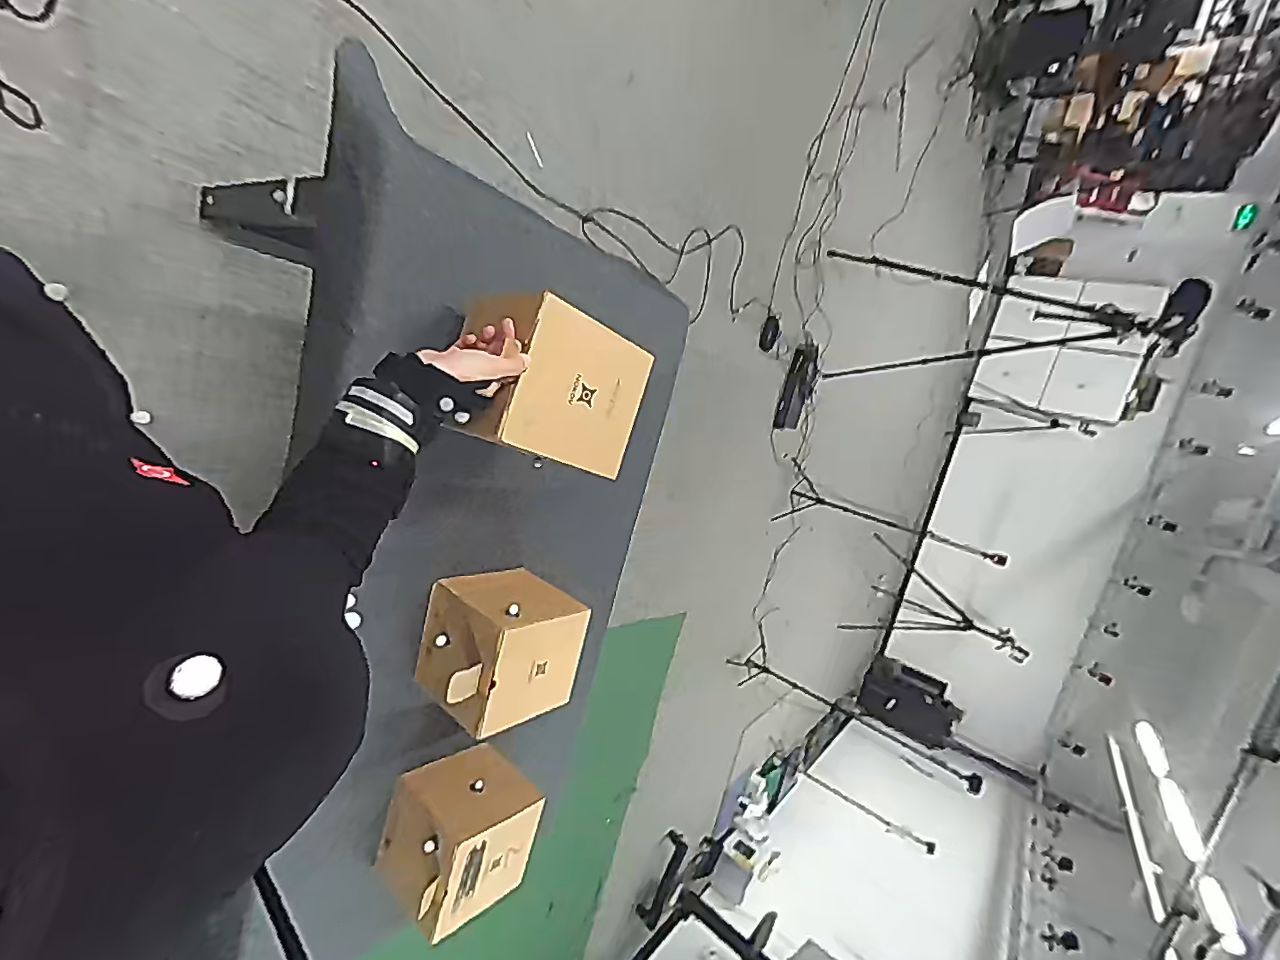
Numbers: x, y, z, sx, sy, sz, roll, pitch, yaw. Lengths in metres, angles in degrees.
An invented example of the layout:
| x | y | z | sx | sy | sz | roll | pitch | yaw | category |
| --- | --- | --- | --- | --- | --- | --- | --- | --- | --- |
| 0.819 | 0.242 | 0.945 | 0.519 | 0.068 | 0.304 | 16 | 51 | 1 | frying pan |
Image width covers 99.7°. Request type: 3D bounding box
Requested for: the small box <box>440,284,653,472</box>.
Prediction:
| x | y | z | sx | sy | sz | roll | pitch | yaw | category |
| --- | --- | --- | --- | --- | --- | --- | --- | --- | --- |
| -0.119 | -0.120 | 0.670 | 0.179 | 0.176 | 0.168 | 19 | 88 | -45 | small box |

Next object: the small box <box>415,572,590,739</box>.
| x | y | z | sx | sy | sz | roll | pitch | yaw | category |
| --- | --- | --- | --- | --- | --- | --- | --- | --- | --- |
| -0.211 | 0.253 | 0.833 | 0.179 | 0.176 | 0.168 | 2 | 105 | -53 | small box |
